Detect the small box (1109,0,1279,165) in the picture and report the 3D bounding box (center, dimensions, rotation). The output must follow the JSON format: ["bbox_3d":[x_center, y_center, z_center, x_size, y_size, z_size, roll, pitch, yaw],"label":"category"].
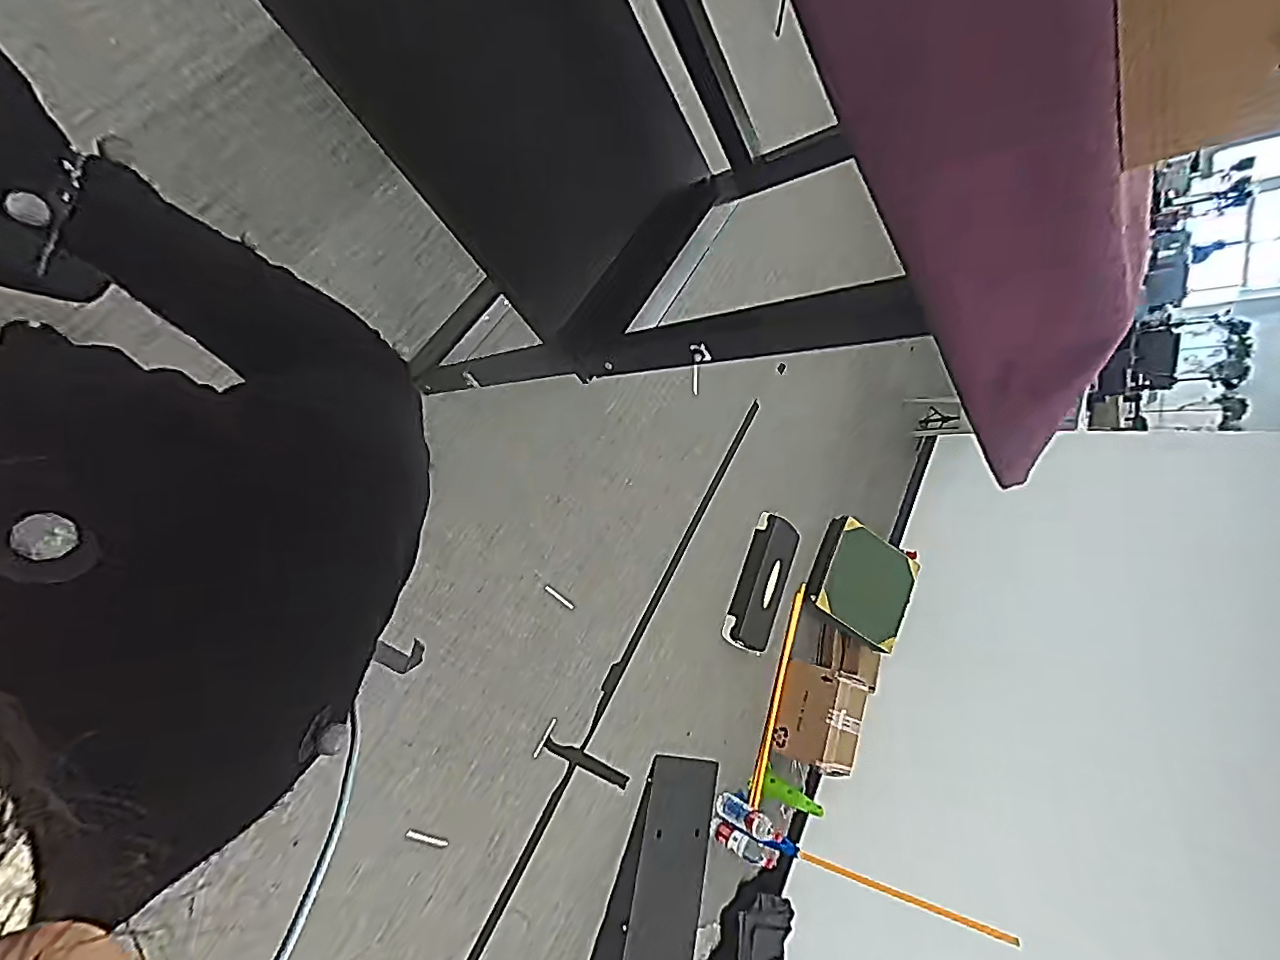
[{"bbox_3d":[0.429,-0.340,0.351,0.179,0.176,0.168,51,59,-33],"label":"small box"}]
